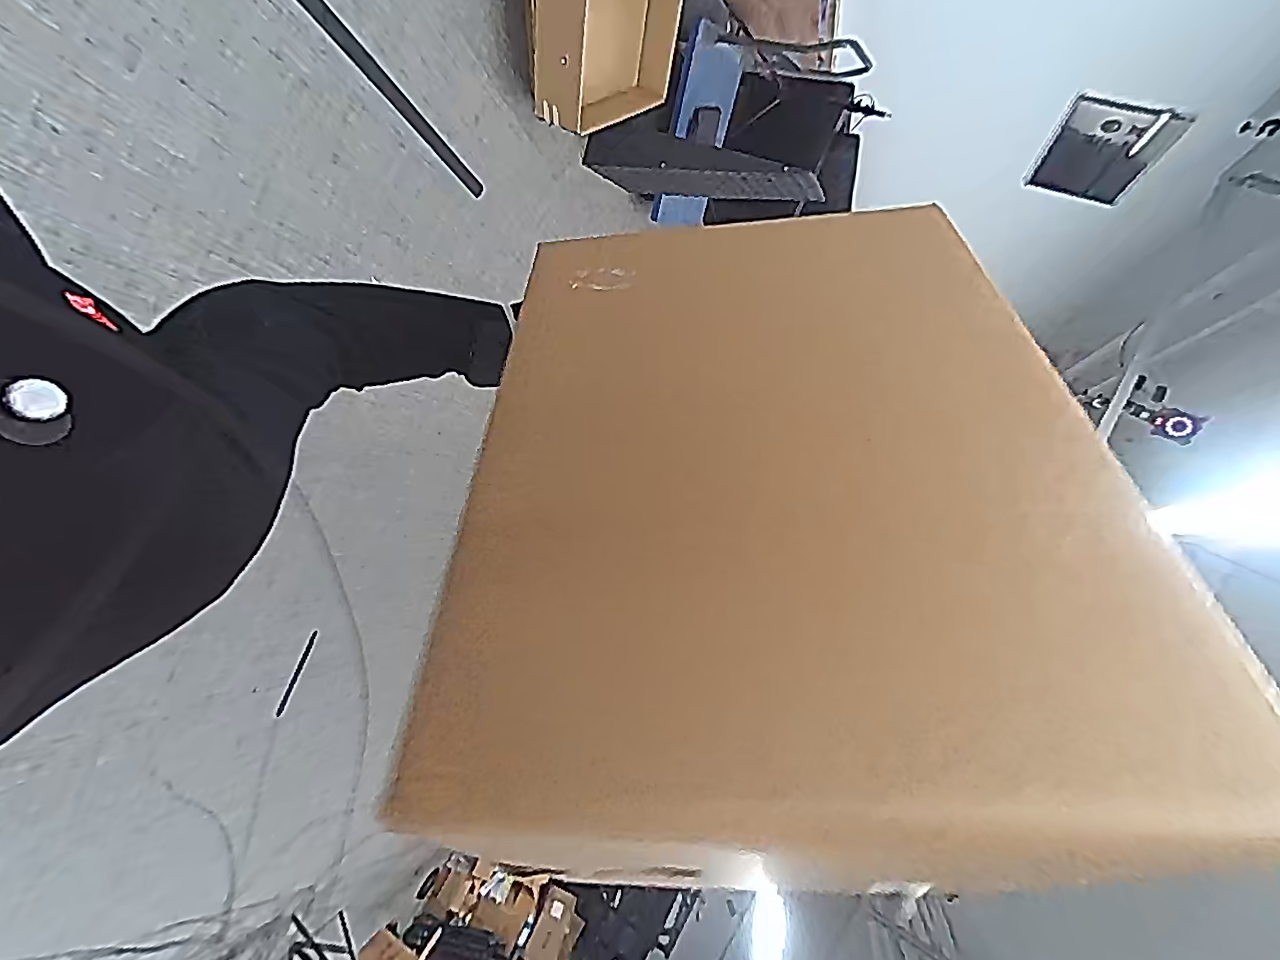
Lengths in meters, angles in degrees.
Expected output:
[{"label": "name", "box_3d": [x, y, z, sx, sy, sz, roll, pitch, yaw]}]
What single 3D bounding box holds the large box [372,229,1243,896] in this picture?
[{"label": "large box", "box_3d": [0.077, 0.055, 0.422, 0.320, 0.320, 0.408, 82, 10, -50]}]
